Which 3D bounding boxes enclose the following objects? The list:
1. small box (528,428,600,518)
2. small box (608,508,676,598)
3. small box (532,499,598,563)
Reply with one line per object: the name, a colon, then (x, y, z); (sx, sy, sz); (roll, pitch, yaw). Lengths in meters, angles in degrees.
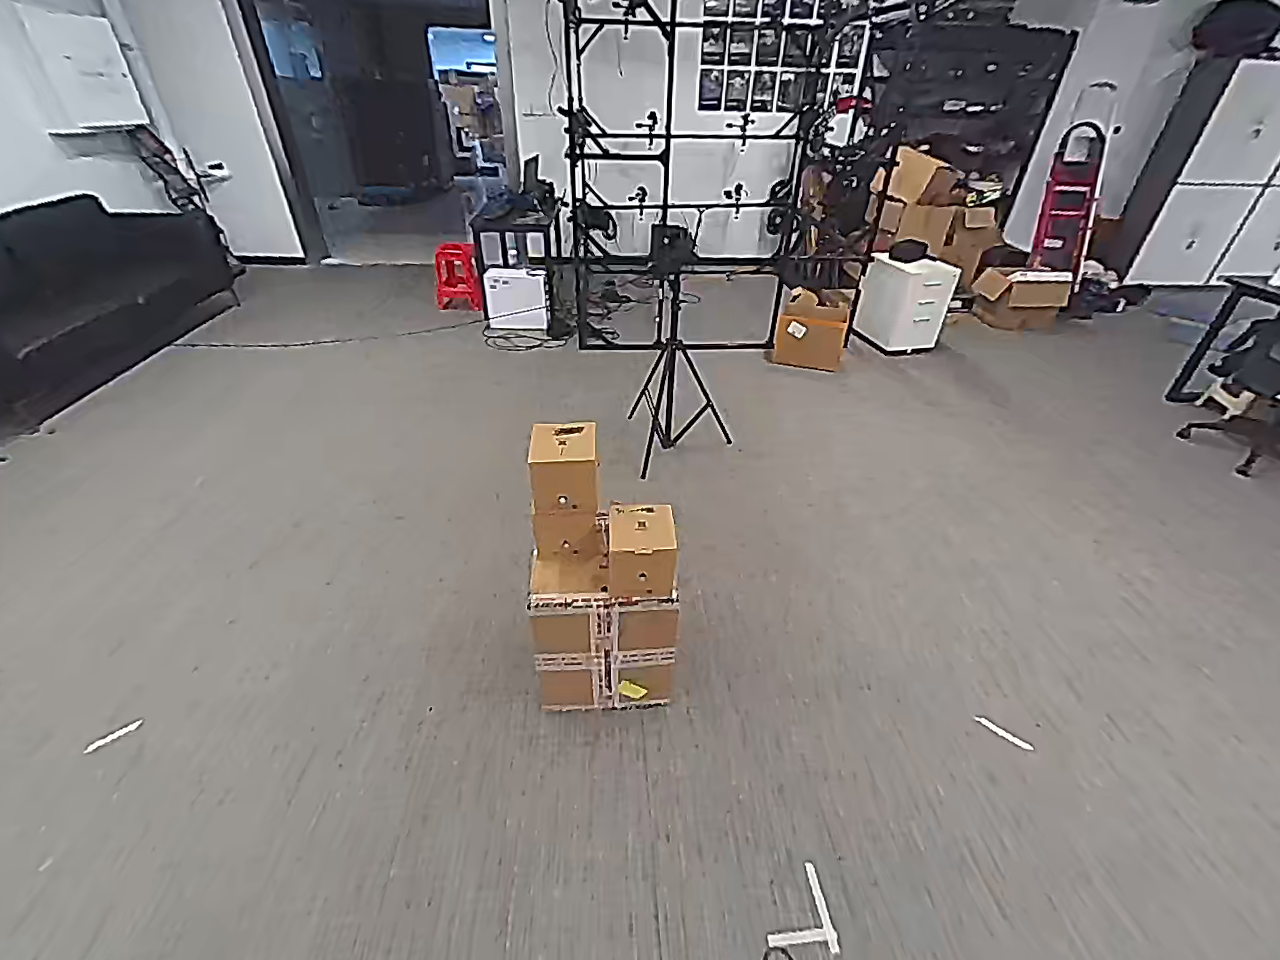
small box: (-0.194, -0.020, 1.412); (0.168, 0.176, 0.179); (-3, 38, -3)
small box: (0.002, 0.192, 1.406); (0.168, 0.176, 0.179); (0, 38, -4)
small box: (-0.209, 0.110, 1.514); (0.168, 0.176, 0.179); (-5, 38, -5)
